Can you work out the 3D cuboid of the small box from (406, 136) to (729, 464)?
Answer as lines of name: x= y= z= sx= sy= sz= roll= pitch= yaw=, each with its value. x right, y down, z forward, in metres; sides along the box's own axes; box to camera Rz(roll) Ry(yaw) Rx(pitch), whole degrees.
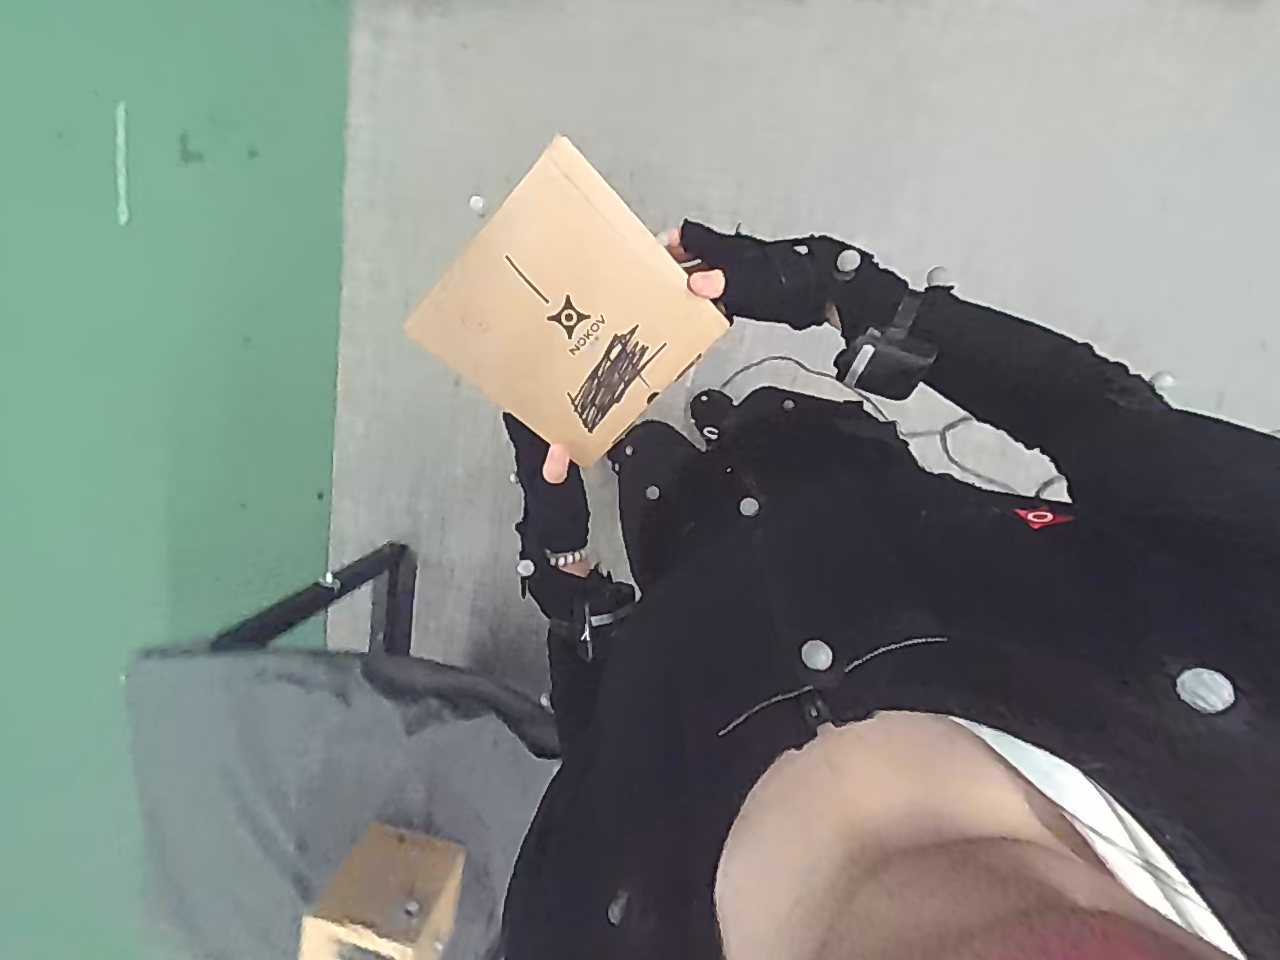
small box: x=-0.060 y=-0.152 z=0.457 sx=0.168 sy=0.176 sz=0.179 roll=-43 pitch=118 yaw=11
